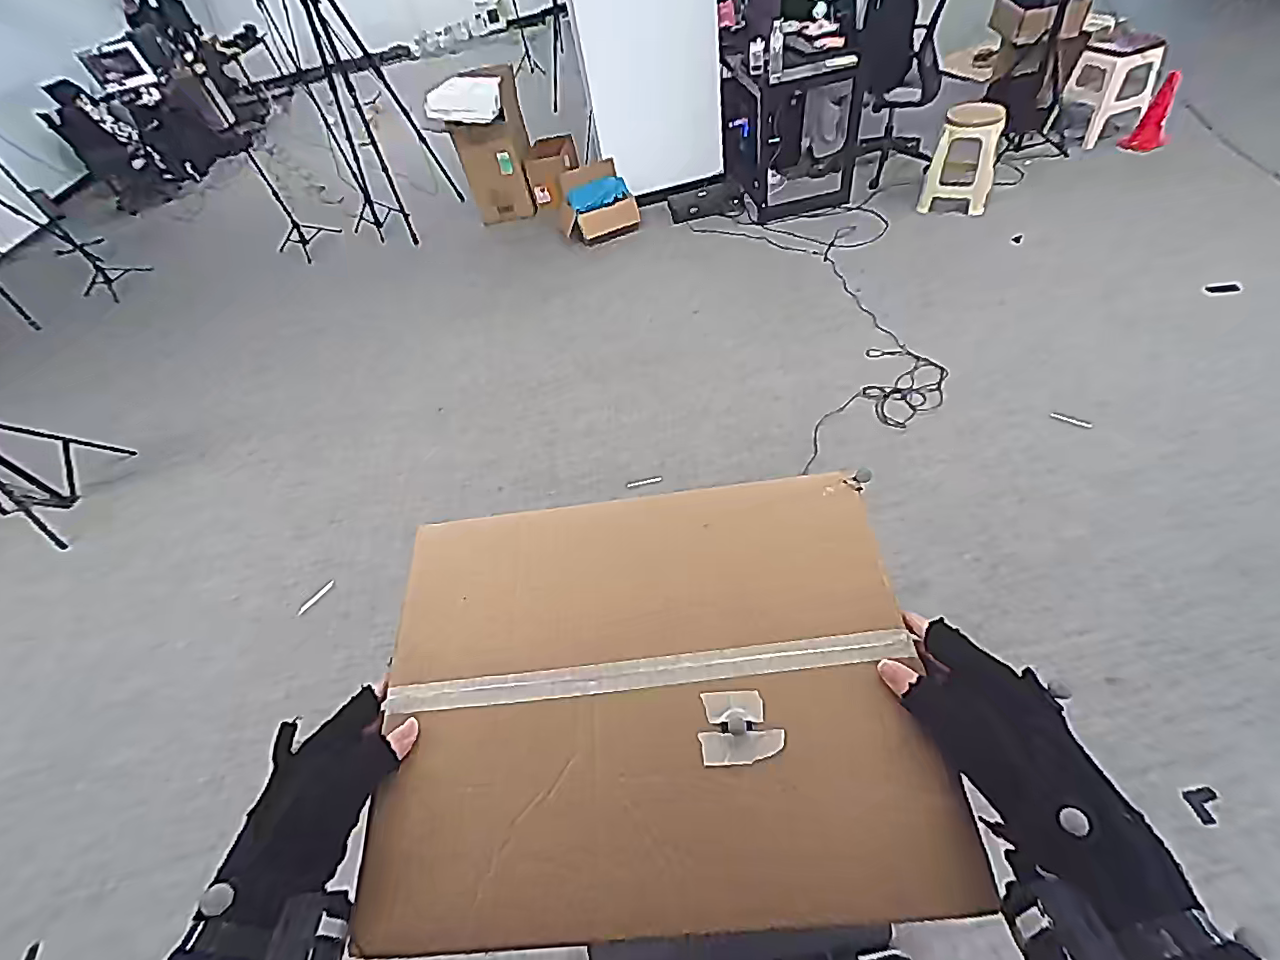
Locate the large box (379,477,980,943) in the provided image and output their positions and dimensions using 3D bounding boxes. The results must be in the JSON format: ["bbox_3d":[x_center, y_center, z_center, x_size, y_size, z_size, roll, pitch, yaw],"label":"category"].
[{"bbox_3d":[0.025,0.232,0.553,0.408,0.320,0.320,-8,58,4],"label":"large box"}]

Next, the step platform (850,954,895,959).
[{"bbox_3d":[0.224,1.142,1.018,0.684,0.204,0.286,-15,48,2],"label":"step platform"}]
